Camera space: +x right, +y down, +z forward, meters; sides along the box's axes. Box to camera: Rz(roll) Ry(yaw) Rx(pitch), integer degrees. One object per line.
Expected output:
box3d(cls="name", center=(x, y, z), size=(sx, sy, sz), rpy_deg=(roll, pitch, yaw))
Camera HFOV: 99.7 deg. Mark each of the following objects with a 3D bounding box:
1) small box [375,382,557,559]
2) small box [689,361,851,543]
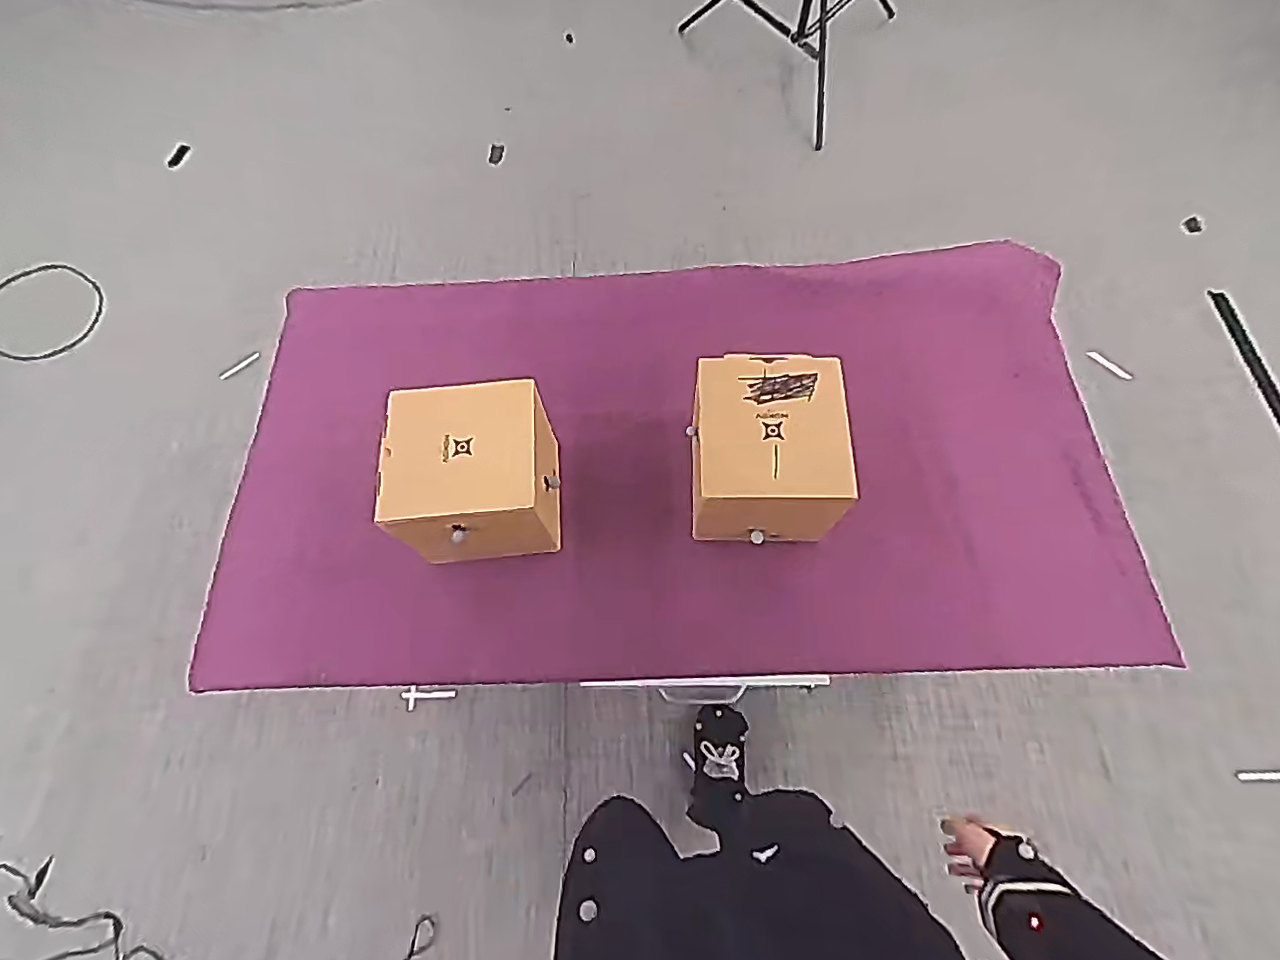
box3d(cls="small box", center=(-0.203, -0.004, 0.685), size=(0.179, 0.176, 0.168), rpy_deg=(-6, 67, 1))
box3d(cls="small box", center=(0.148, -0.029, 0.678), size=(0.168, 0.176, 0.179), rpy_deg=(1, 68, 3))
